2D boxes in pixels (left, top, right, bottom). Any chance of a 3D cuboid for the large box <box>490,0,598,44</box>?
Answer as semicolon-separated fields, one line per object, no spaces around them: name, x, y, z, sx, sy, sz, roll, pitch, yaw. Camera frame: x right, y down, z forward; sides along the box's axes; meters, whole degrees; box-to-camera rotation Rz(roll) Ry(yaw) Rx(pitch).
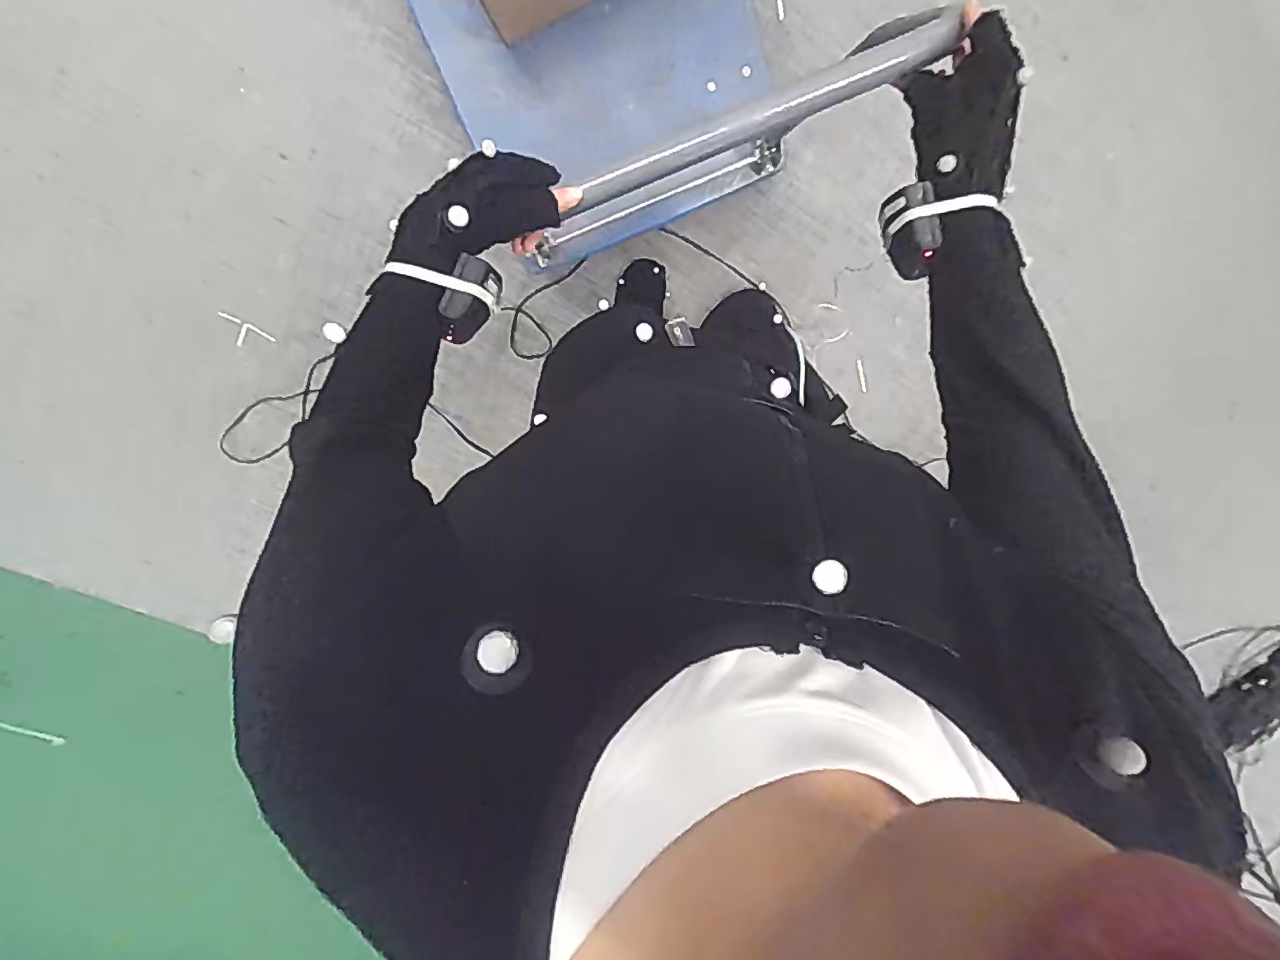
large box;-0.098;-0.921;0.759;0.408;0.320;0.320;-23;114;8
